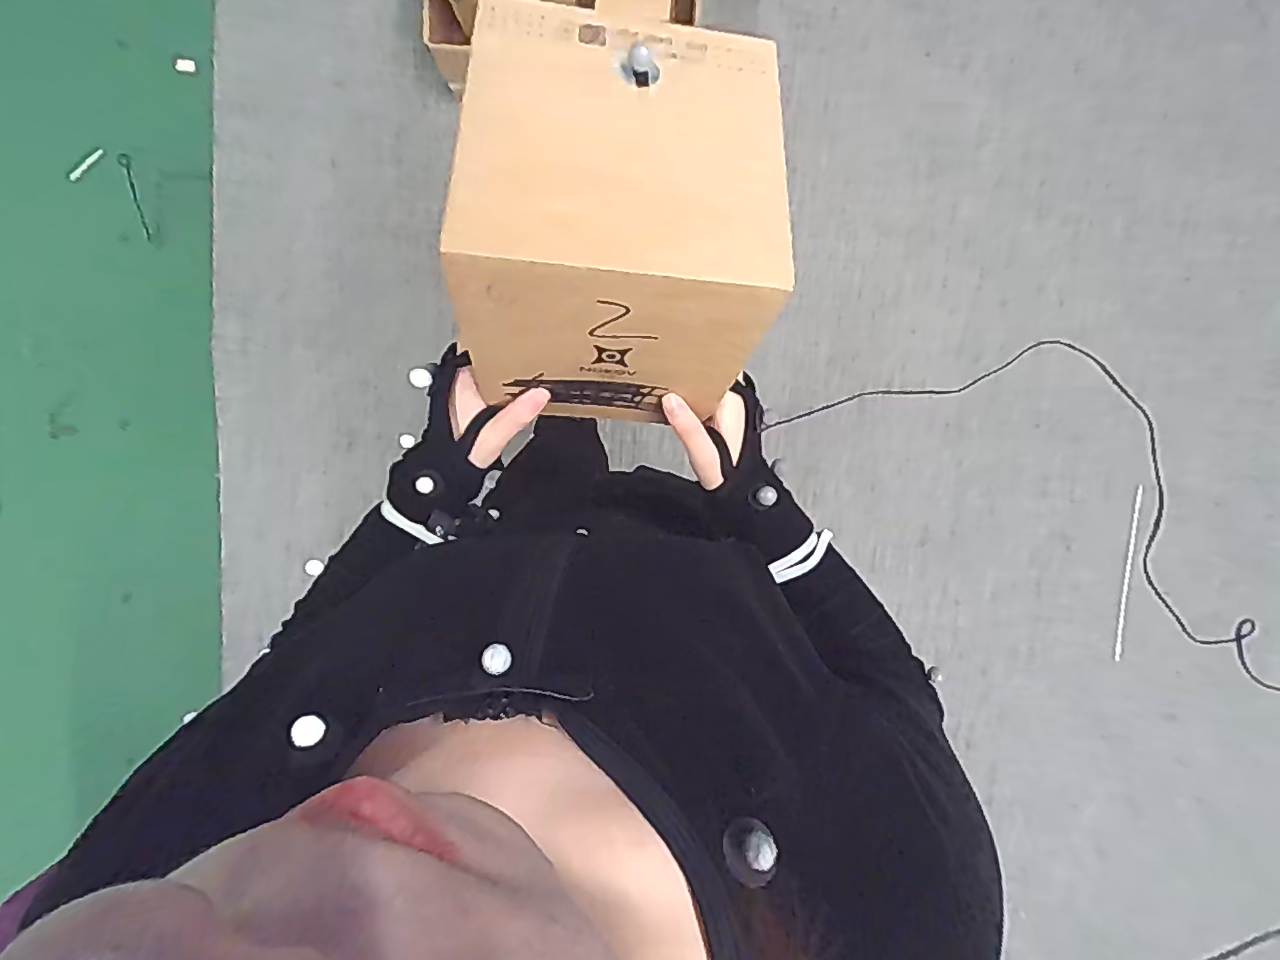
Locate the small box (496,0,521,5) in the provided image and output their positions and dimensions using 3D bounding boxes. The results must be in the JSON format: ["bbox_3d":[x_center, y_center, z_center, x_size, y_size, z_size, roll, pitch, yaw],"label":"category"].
[{"bbox_3d":[-0.320,-1.106,1.075,0.168,0.176,0.179,10,95,0],"label":"small box"}]
